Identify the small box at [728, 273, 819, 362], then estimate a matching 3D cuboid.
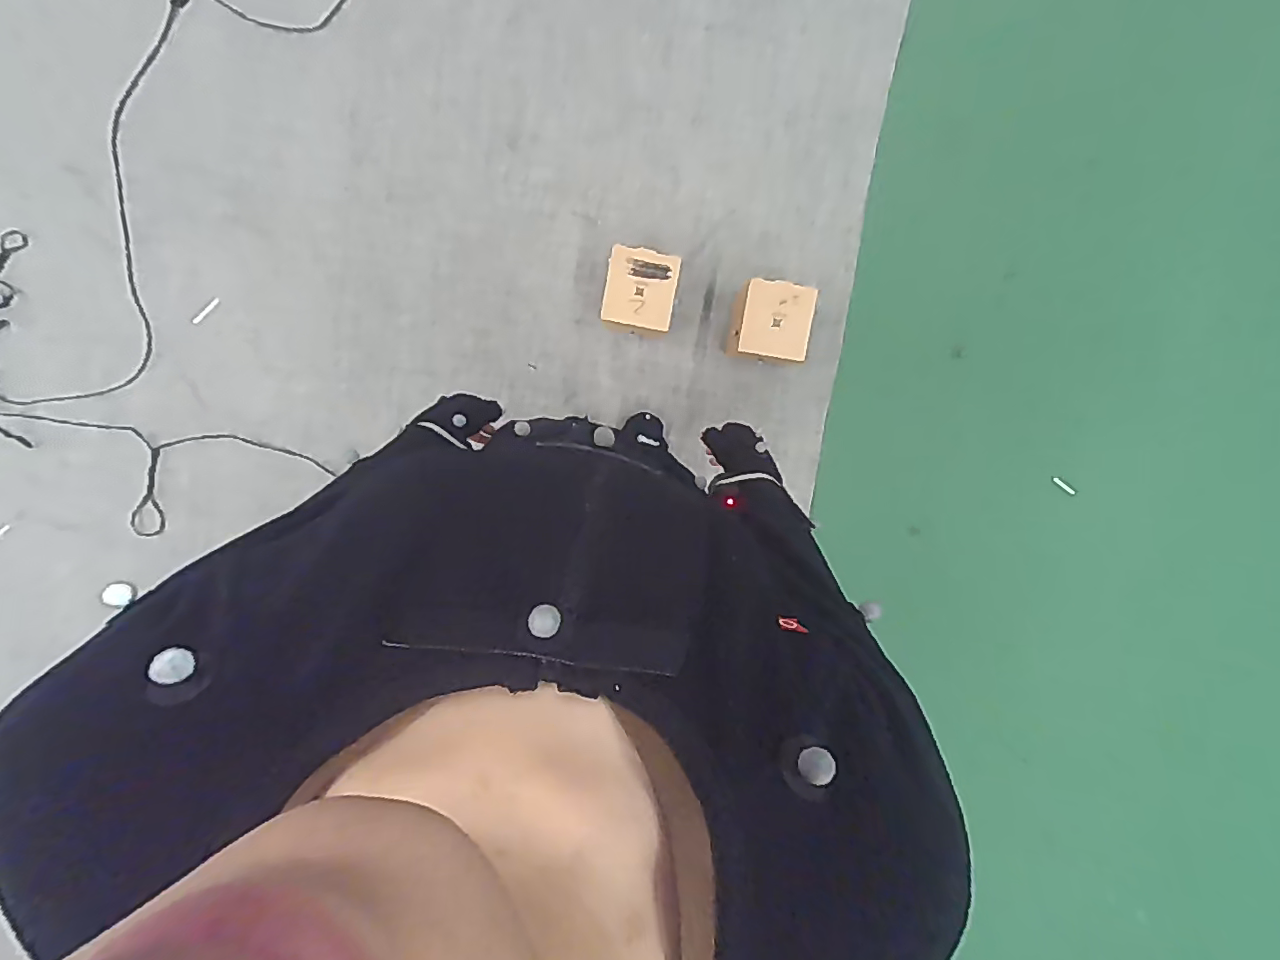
[{"bbox_3d":[0.323,-0.396,1.348,0.168,0.176,0.179,9,98,-3],"label":"small box"}]
